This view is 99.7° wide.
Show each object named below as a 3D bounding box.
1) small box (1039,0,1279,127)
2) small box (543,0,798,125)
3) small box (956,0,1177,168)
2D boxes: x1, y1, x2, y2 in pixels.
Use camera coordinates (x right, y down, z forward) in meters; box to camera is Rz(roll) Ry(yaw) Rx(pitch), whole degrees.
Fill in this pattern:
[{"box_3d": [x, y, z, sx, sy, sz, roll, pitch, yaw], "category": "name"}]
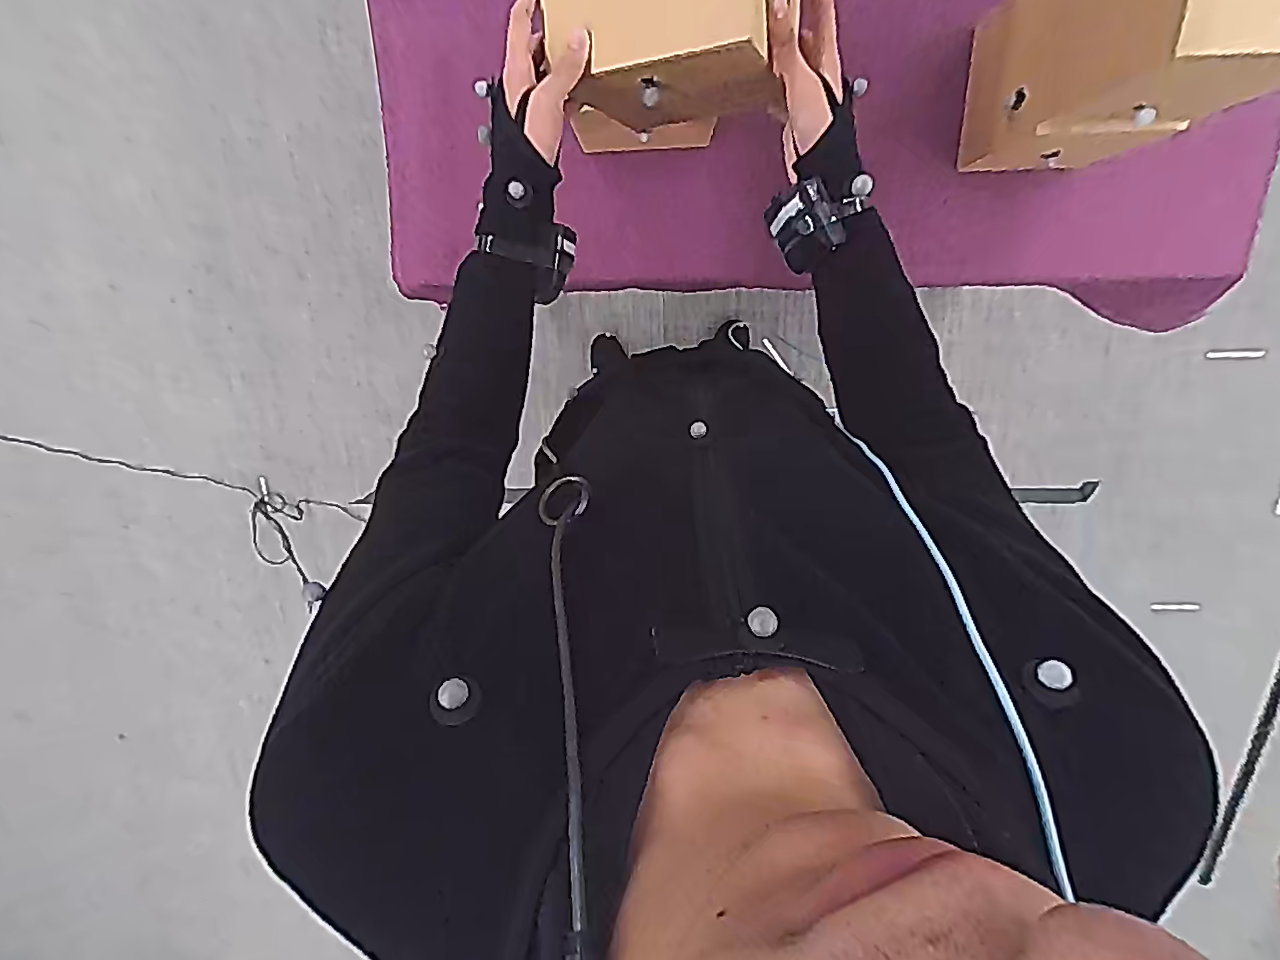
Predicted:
[{"box_3d": [0.513, -0.451, 0.496, 0.168, 0.176, 0.179, 0, 108, 2], "category": "small box"}, {"box_3d": [0.035, -0.419, 0.452, 0.179, 0.176, 0.168, 8, 113, 26], "category": "small box"}, {"box_3d": [0.516, -0.491, 0.655, 0.168, 0.176, 0.179, -1, 107, 1], "category": "small box"}]
